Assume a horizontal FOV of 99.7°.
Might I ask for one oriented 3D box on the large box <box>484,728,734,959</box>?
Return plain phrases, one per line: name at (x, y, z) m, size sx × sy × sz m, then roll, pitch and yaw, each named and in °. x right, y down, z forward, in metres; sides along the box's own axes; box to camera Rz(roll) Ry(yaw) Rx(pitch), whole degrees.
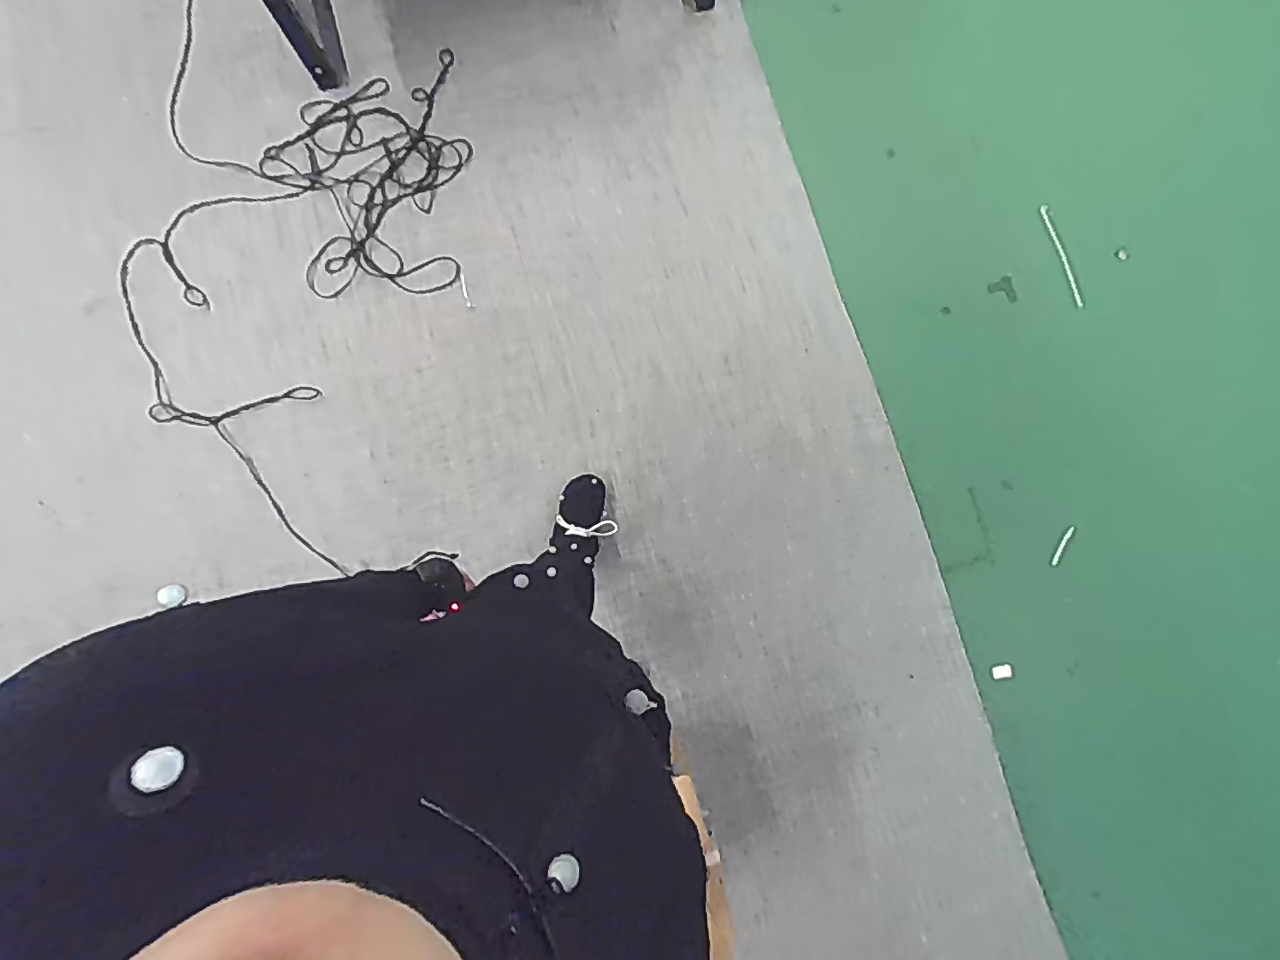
large box at (-0.060, 0.781, 1.141) m, size 0.408 × 0.320 × 0.320 m, roll -16°, pitch 82°, yaw -3°
